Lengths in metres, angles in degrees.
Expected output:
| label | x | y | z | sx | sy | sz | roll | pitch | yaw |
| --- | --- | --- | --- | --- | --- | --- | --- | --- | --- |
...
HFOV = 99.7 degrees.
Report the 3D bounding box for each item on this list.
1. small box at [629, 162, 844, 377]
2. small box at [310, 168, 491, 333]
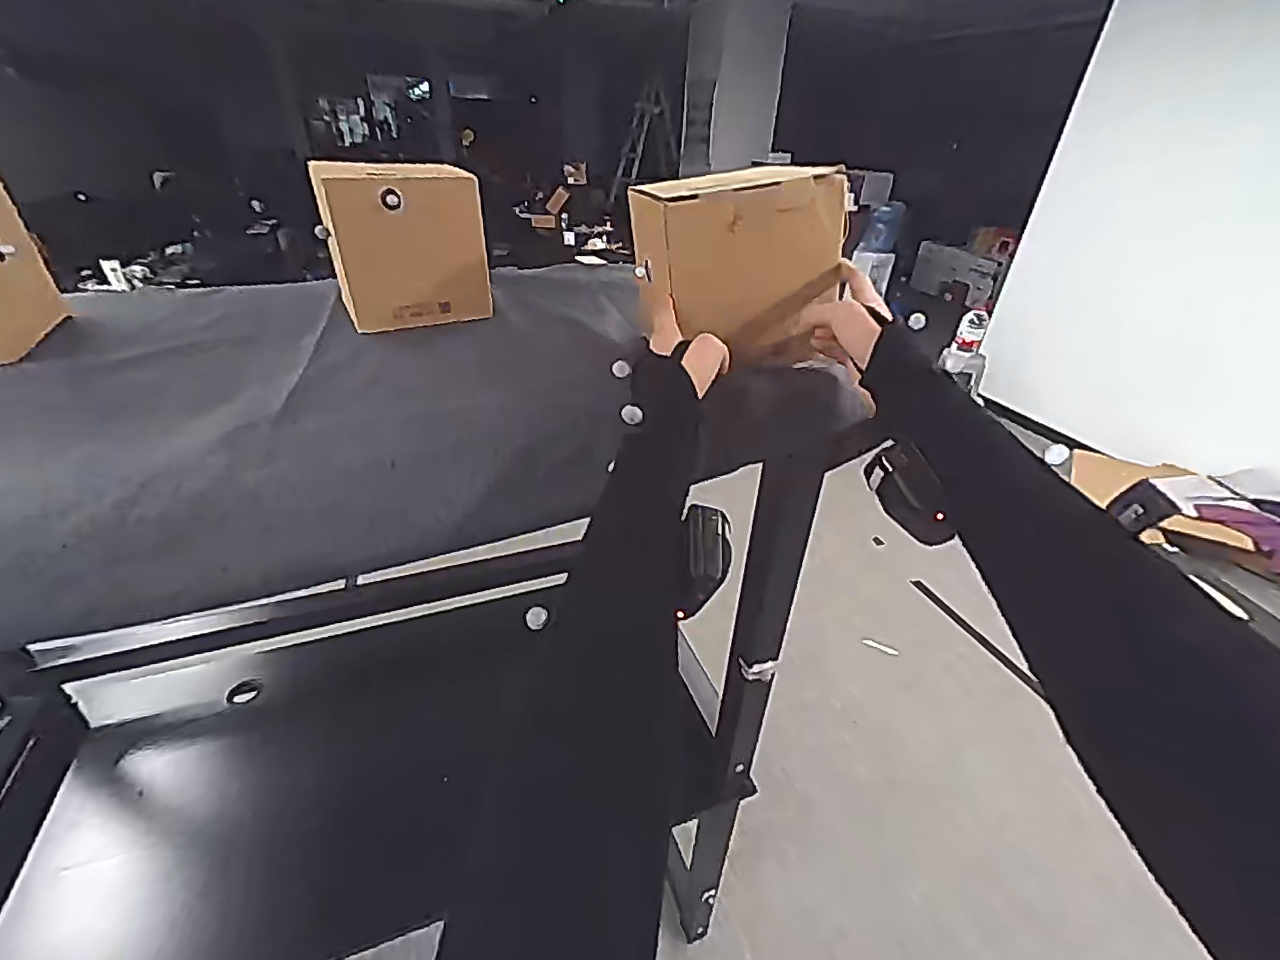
| label | x | y | z | sx | sy | sz | roll | pitch | yaw |
| --- | --- | --- | --- | --- | --- | --- | --- | --- | --- |
| small box | 0.094 | -0.218 | 0.563 | 0.168 | 0.176 | 0.179 | -13 | 32 | -5 |
| small box | -0.303 | -0.298 | 0.692 | 0.168 | 0.176 | 0.179 | -17 | 38 | -26 |
